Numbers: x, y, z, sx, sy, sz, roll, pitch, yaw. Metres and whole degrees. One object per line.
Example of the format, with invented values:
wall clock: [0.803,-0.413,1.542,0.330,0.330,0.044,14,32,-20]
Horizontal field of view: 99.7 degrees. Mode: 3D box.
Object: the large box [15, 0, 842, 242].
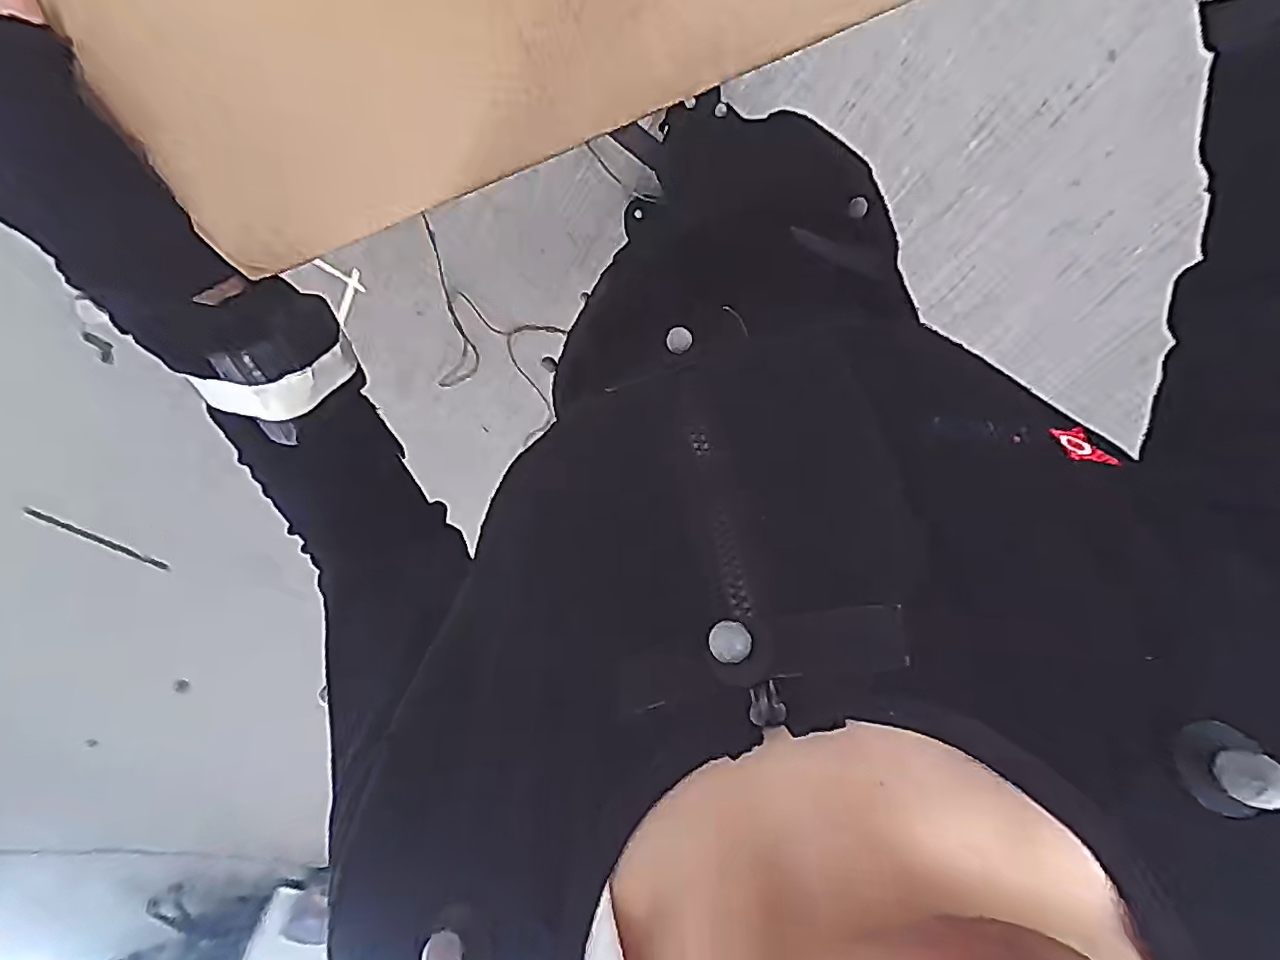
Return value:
large box: [-0.058,-0.369,0.197,0.408,0.320,0.320,-16,141,10]
